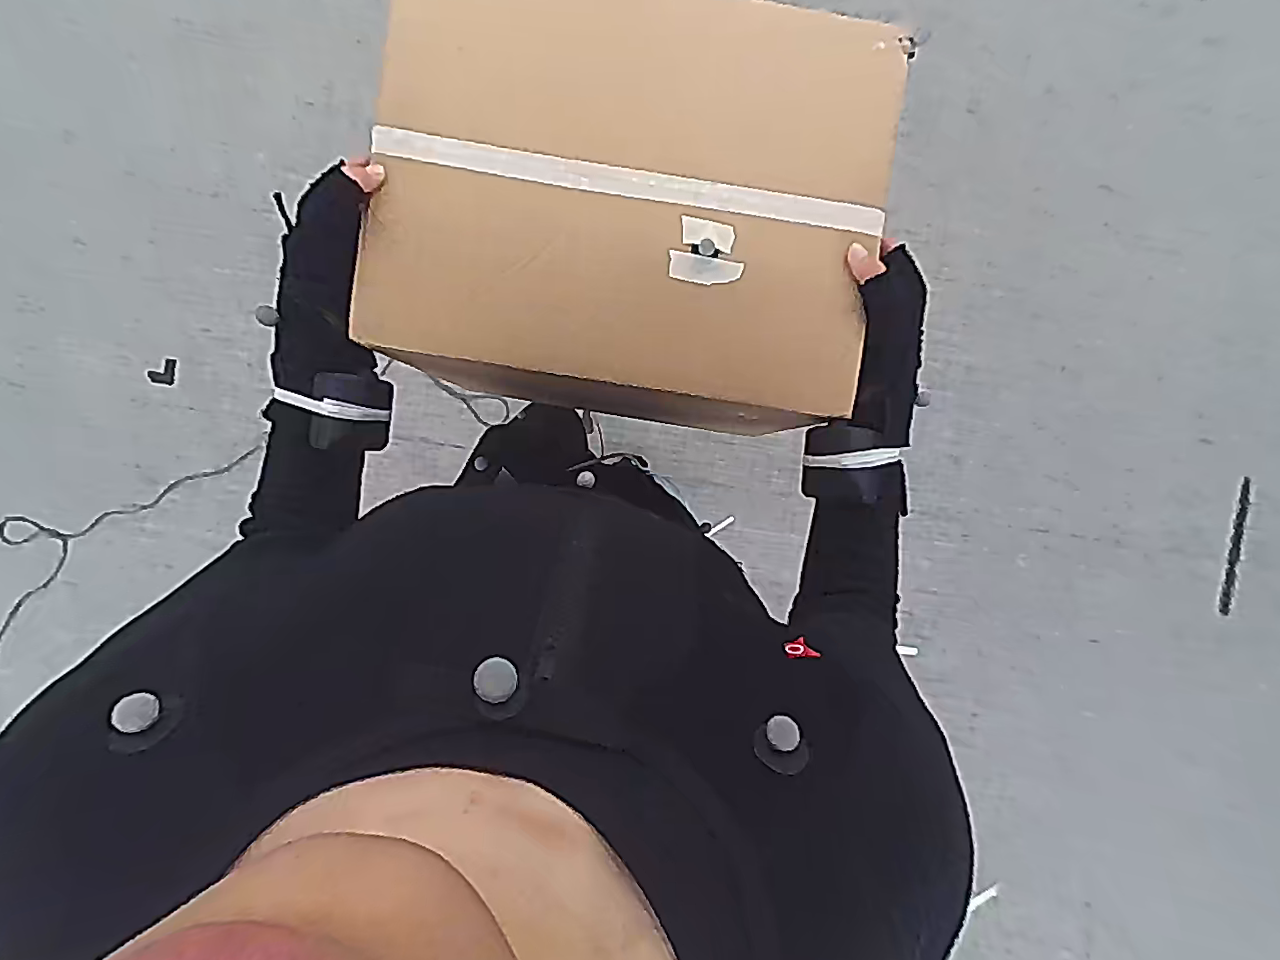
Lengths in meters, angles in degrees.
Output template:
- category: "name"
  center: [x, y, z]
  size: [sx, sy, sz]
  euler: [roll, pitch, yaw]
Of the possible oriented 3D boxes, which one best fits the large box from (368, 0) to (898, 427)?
- category: "large box"
  center: [-0.012, -0.242, 0.585]
  size: [0.408, 0.320, 0.320]
  euler: [9, 93, -3]
